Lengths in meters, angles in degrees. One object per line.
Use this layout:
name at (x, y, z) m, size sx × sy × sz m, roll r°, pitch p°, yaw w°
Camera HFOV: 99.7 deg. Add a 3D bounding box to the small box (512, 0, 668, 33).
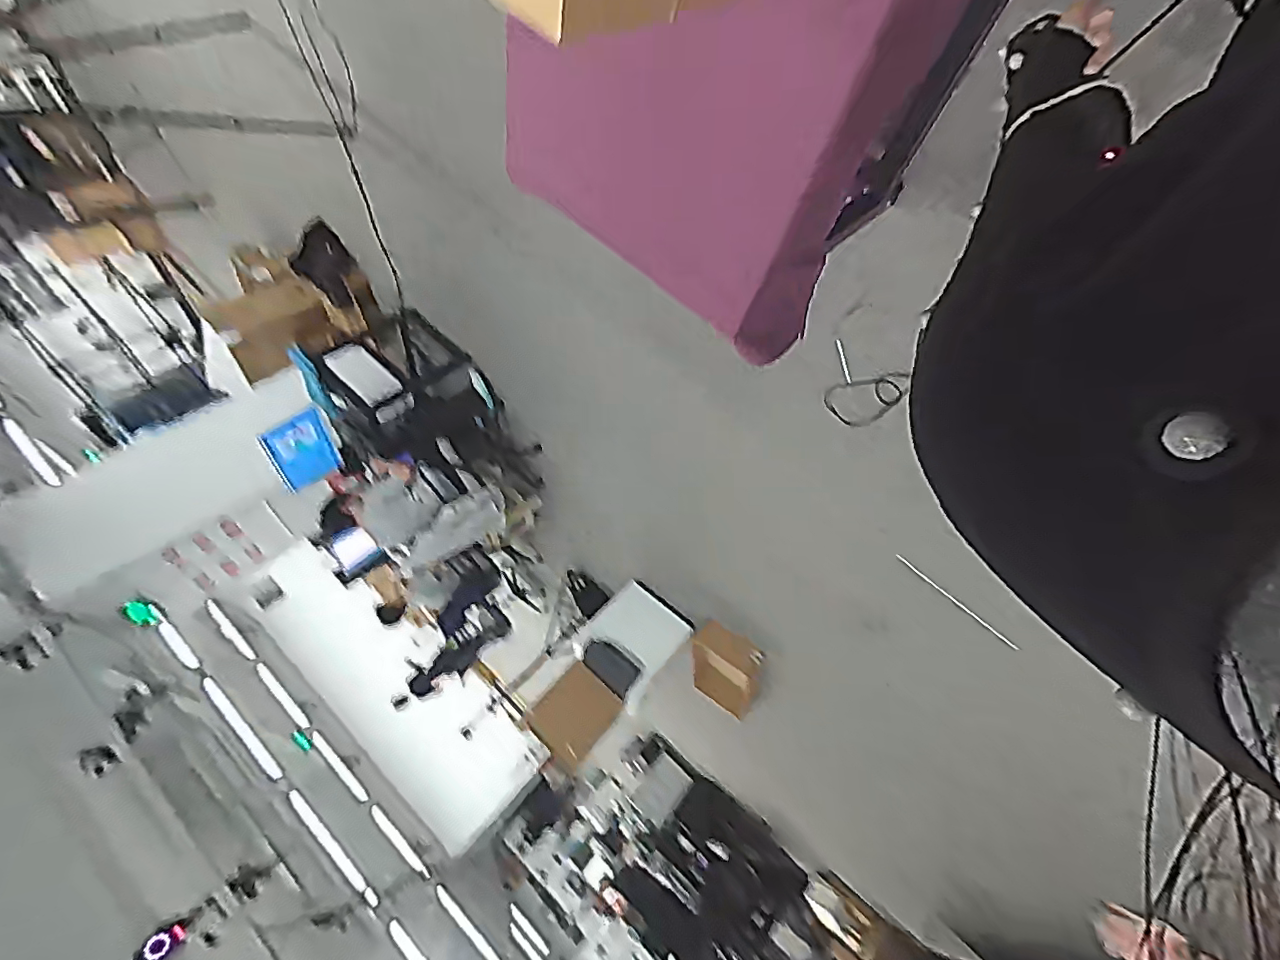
small box at (-0.060, -0.547, 0.478) m, size 0.168 × 0.176 × 0.179 m, roll 42°, pitch 148°, yaw 12°
